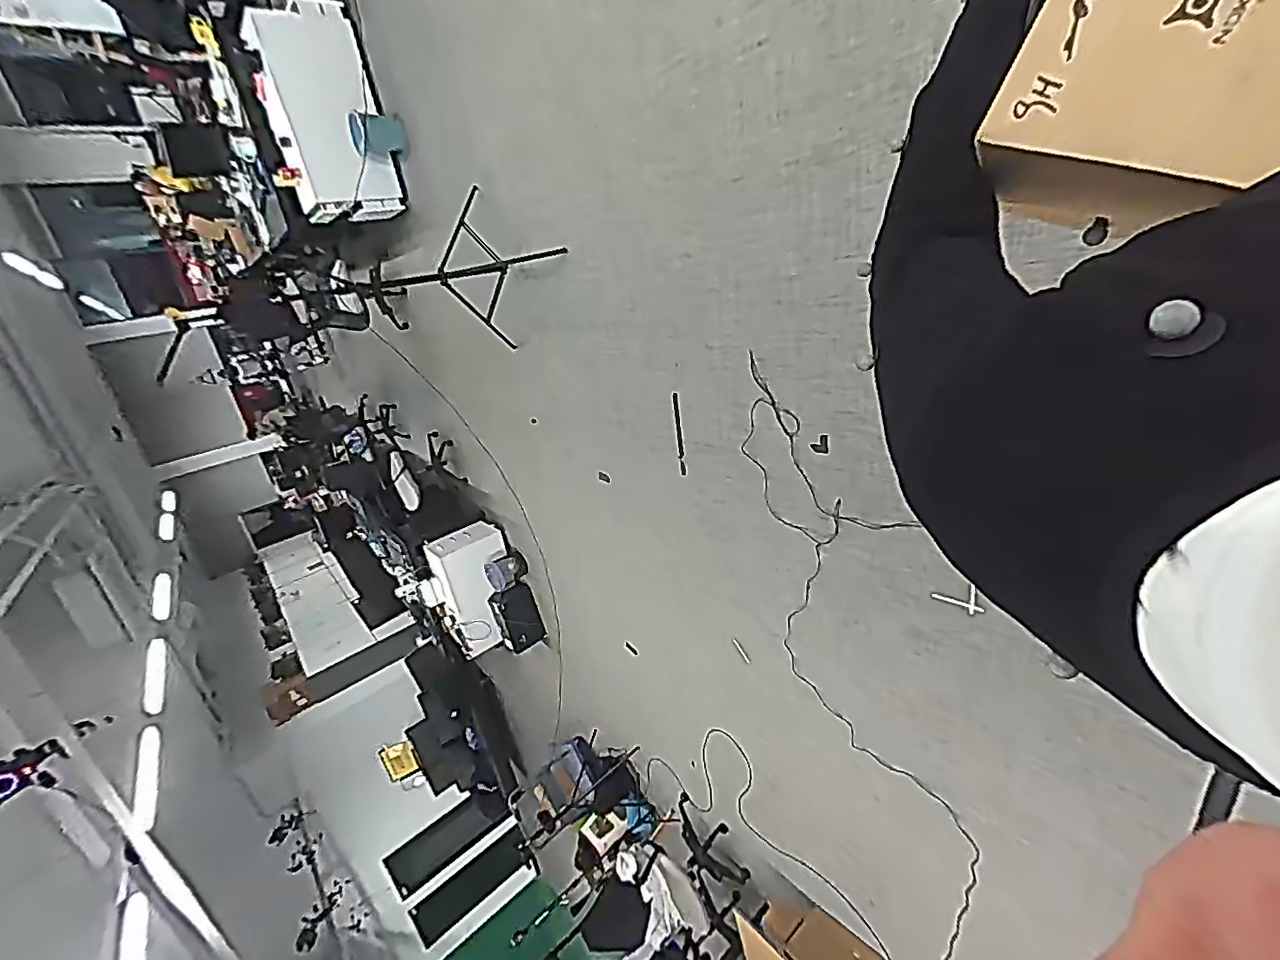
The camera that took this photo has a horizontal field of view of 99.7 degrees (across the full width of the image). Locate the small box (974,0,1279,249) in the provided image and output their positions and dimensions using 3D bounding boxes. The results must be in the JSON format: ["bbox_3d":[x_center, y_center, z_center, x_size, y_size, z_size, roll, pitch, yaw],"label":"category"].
[{"bbox_3d":[0.369,-0.274,0.369,0.179,0.176,0.168,33,115,28],"label":"small box"}]
